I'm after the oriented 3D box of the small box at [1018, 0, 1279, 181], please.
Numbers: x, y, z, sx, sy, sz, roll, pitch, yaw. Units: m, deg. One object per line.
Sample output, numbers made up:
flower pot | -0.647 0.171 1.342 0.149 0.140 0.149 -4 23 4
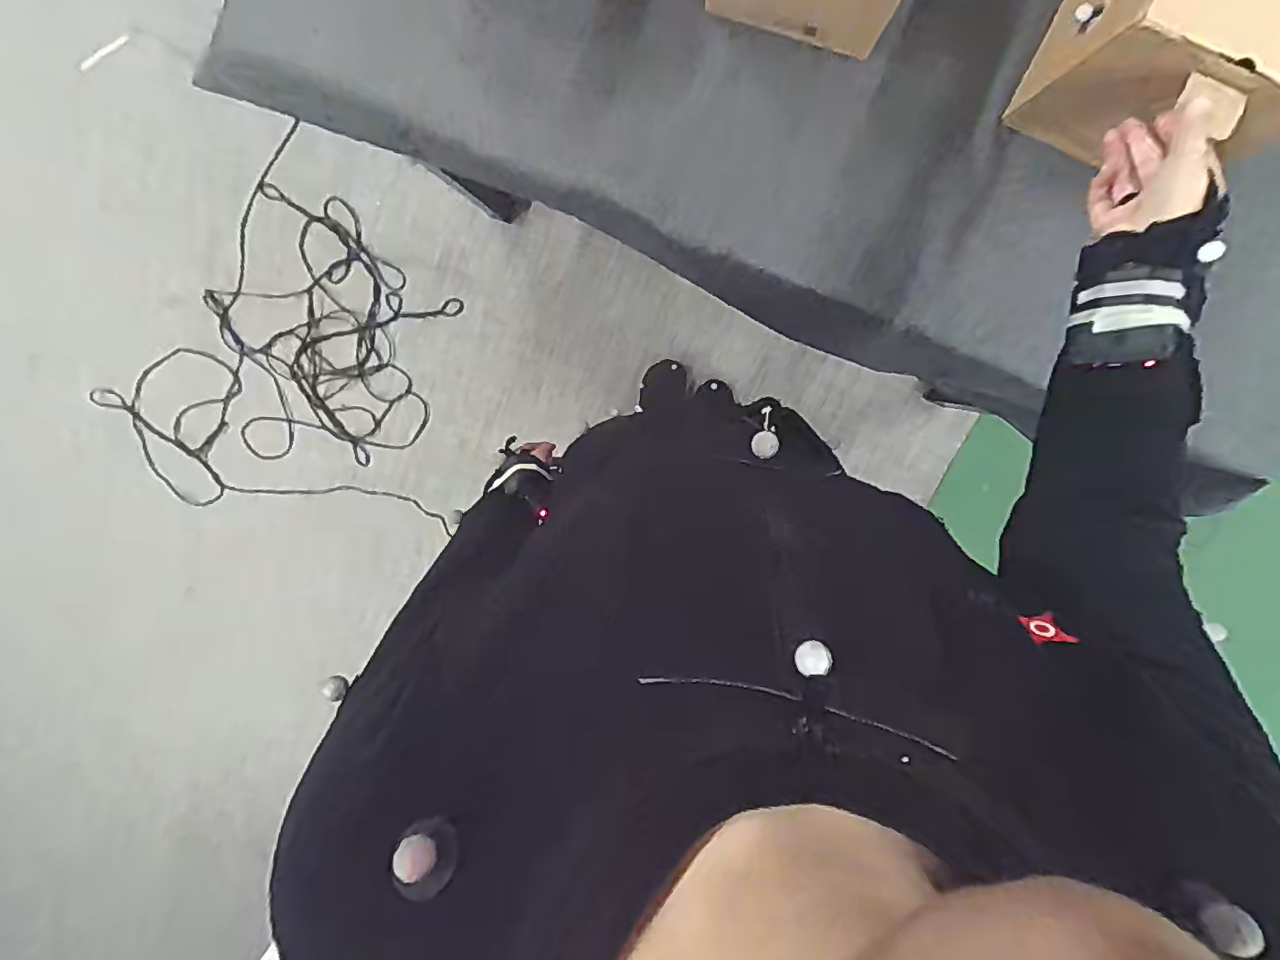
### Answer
small box | 0.456 -0.378 0.436 0.168 0.176 0.179 23 102 -3
